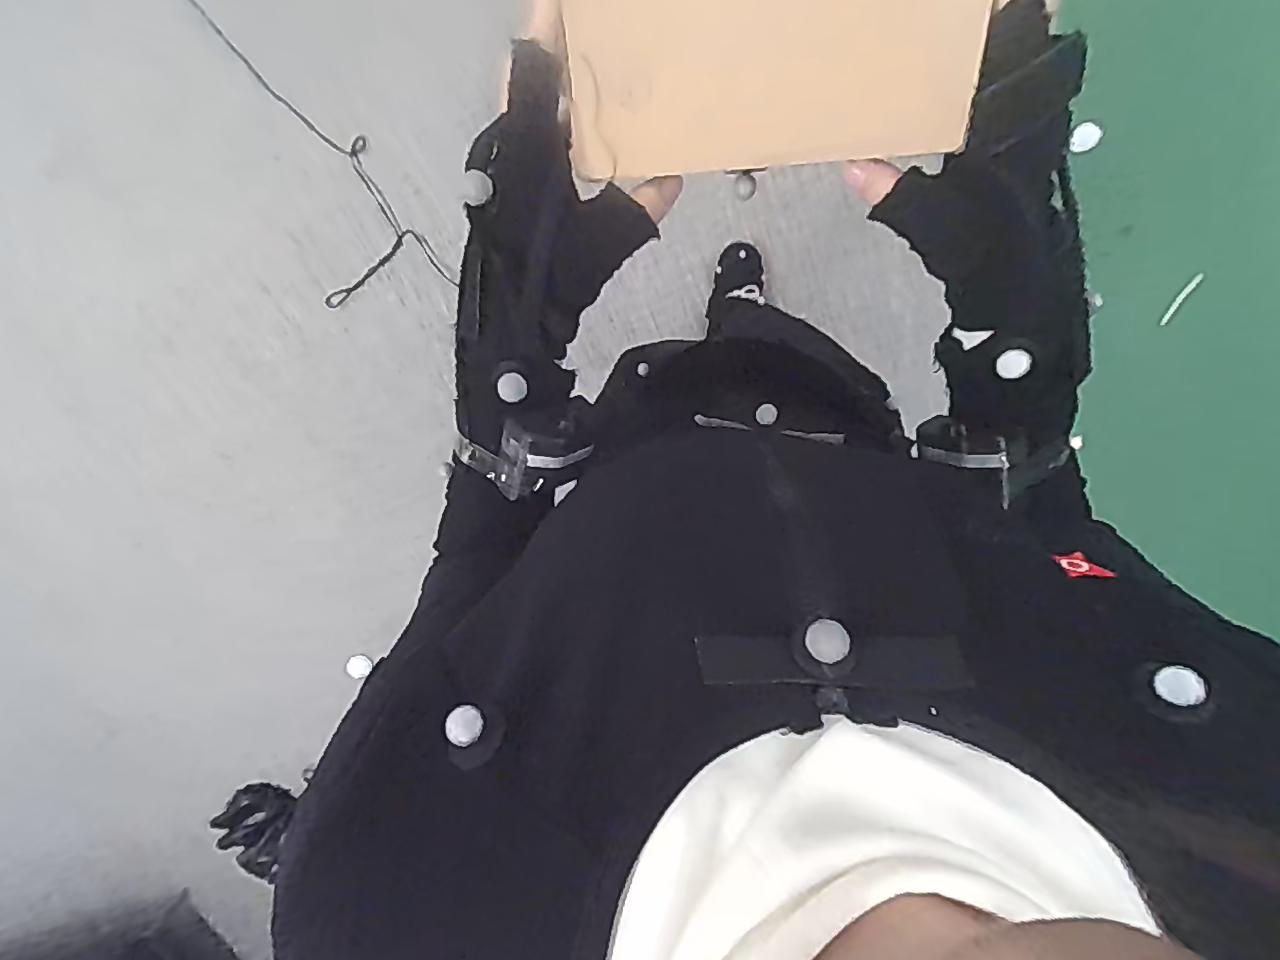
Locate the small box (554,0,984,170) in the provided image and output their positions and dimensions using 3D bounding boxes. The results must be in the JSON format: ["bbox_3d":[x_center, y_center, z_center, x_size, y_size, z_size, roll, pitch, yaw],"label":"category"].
[{"bbox_3d":[0.052,-0.259,0.275,0.179,0.176,0.168,-4,121,4],"label":"small box"}]
